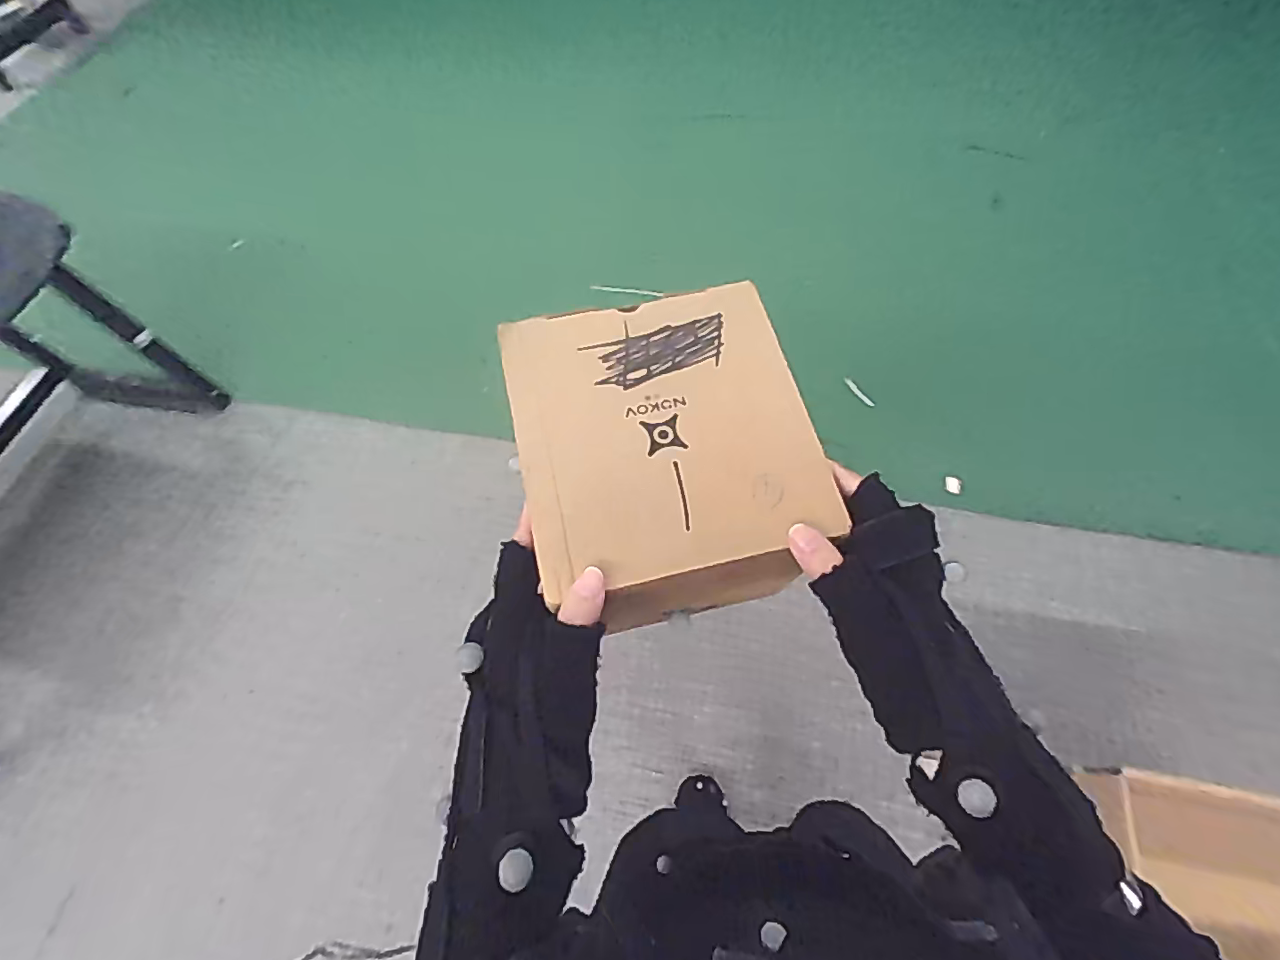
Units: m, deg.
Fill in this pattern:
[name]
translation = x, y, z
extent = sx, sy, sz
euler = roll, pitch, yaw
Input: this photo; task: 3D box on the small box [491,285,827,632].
[small box]
translation = 0.002, -0.004, 0.389
extent = 0.168, 0.176, 0.179
euler = -13, 68, -6
